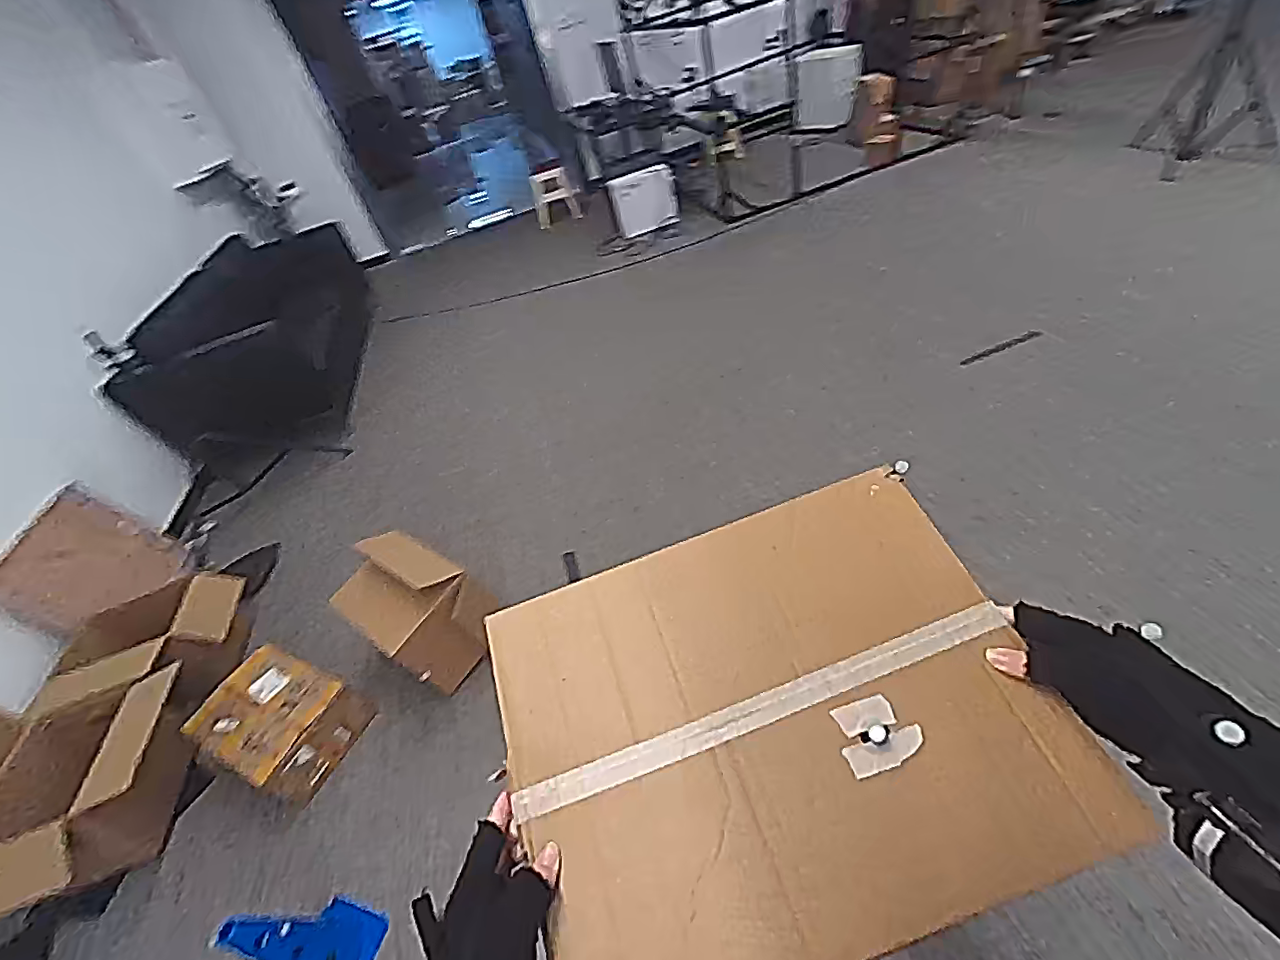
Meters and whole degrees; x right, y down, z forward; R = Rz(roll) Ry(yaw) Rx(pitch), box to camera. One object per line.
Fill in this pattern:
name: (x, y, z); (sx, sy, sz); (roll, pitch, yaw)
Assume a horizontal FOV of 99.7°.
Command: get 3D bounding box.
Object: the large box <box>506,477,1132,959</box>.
large box: (0.127, 0.262, 0.561); (0.408, 0.320, 0.320); (-20, 58, -2)
